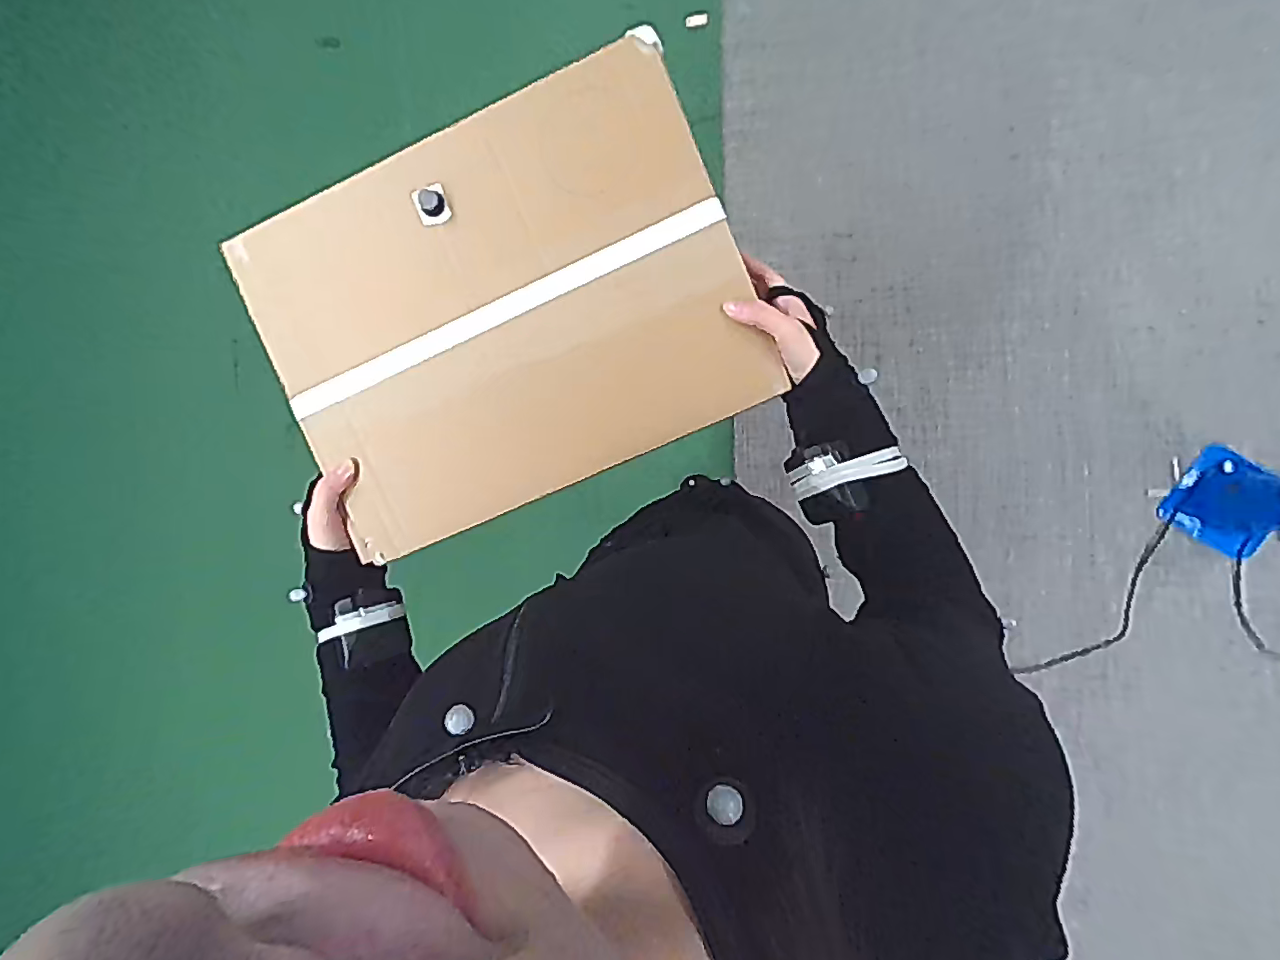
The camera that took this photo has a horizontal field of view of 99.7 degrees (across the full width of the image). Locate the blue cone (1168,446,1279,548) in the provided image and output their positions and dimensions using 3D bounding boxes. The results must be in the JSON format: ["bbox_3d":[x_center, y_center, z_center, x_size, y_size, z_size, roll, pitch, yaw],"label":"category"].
[{"bbox_3d":[1.261,0.036,1.033,0.193,0.380,0.192,32,97,12],"label":"blue cone"}]
